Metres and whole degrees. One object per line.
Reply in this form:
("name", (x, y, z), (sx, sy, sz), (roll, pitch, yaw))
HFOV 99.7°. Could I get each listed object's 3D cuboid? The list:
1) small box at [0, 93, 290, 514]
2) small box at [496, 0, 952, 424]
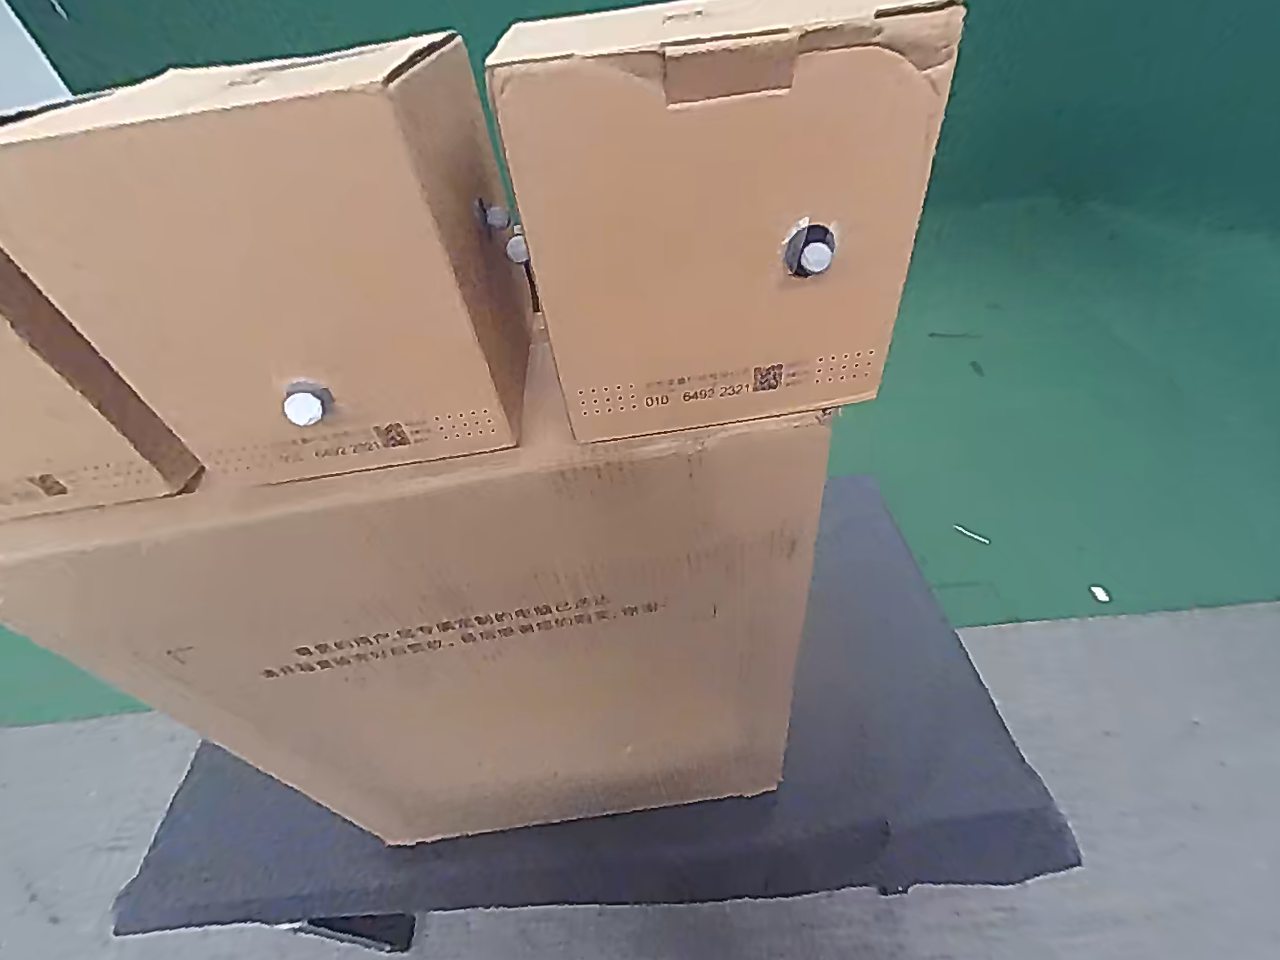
("small box", (-0.350, -0.094, 0.315), (0.168, 0.176, 0.179), (-9, 44, 2))
("small box", (0.029, -0.144, 0.301), (0.168, 0.176, 0.179), (-8, 43, -2))
